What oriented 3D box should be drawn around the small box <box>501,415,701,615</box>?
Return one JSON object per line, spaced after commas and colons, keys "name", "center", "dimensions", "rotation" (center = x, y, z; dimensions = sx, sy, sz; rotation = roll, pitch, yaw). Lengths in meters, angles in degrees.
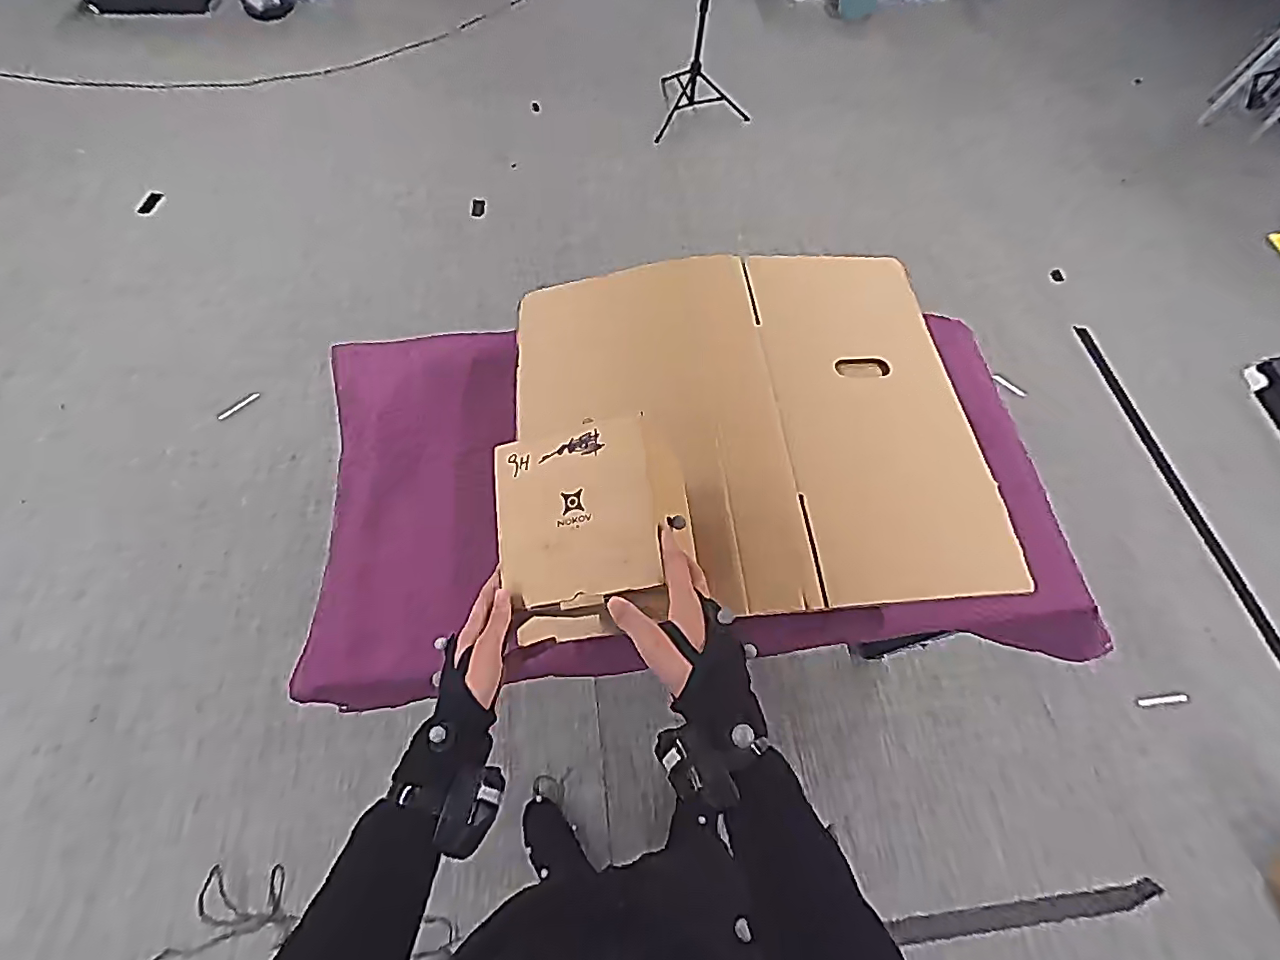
{"name": "small box", "center": [-0.035, 0.051, 0.600], "dimensions": [0.168, 0.176, 0.179], "rotation": [-11, 73, 15]}
